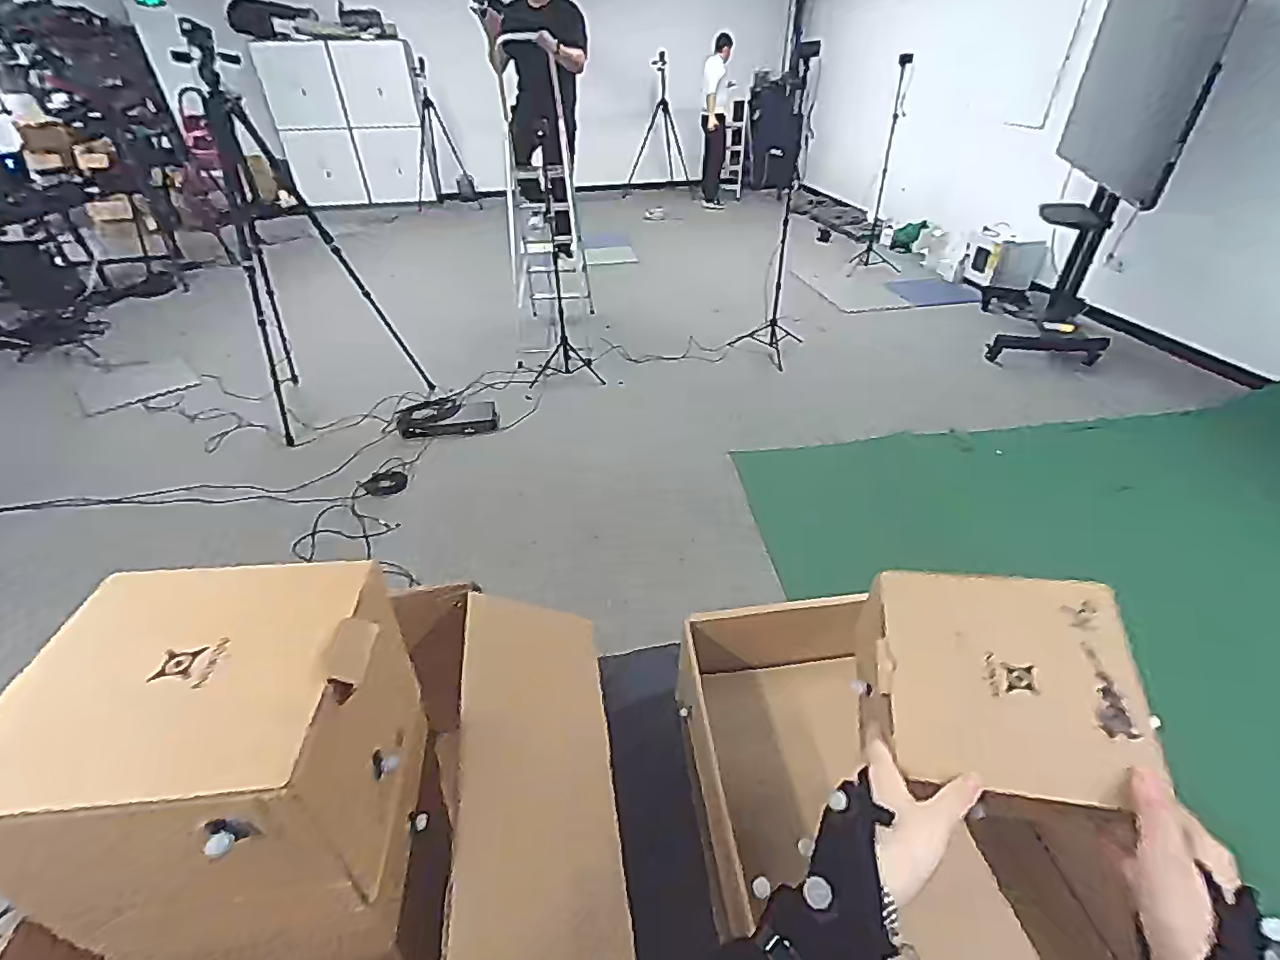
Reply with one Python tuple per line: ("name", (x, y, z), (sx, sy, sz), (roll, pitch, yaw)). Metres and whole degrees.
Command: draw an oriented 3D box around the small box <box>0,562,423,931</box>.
("small box", (-0.268, 0.177, 0.375), (0.179, 0.176, 0.168), (-1, 36, -9))
